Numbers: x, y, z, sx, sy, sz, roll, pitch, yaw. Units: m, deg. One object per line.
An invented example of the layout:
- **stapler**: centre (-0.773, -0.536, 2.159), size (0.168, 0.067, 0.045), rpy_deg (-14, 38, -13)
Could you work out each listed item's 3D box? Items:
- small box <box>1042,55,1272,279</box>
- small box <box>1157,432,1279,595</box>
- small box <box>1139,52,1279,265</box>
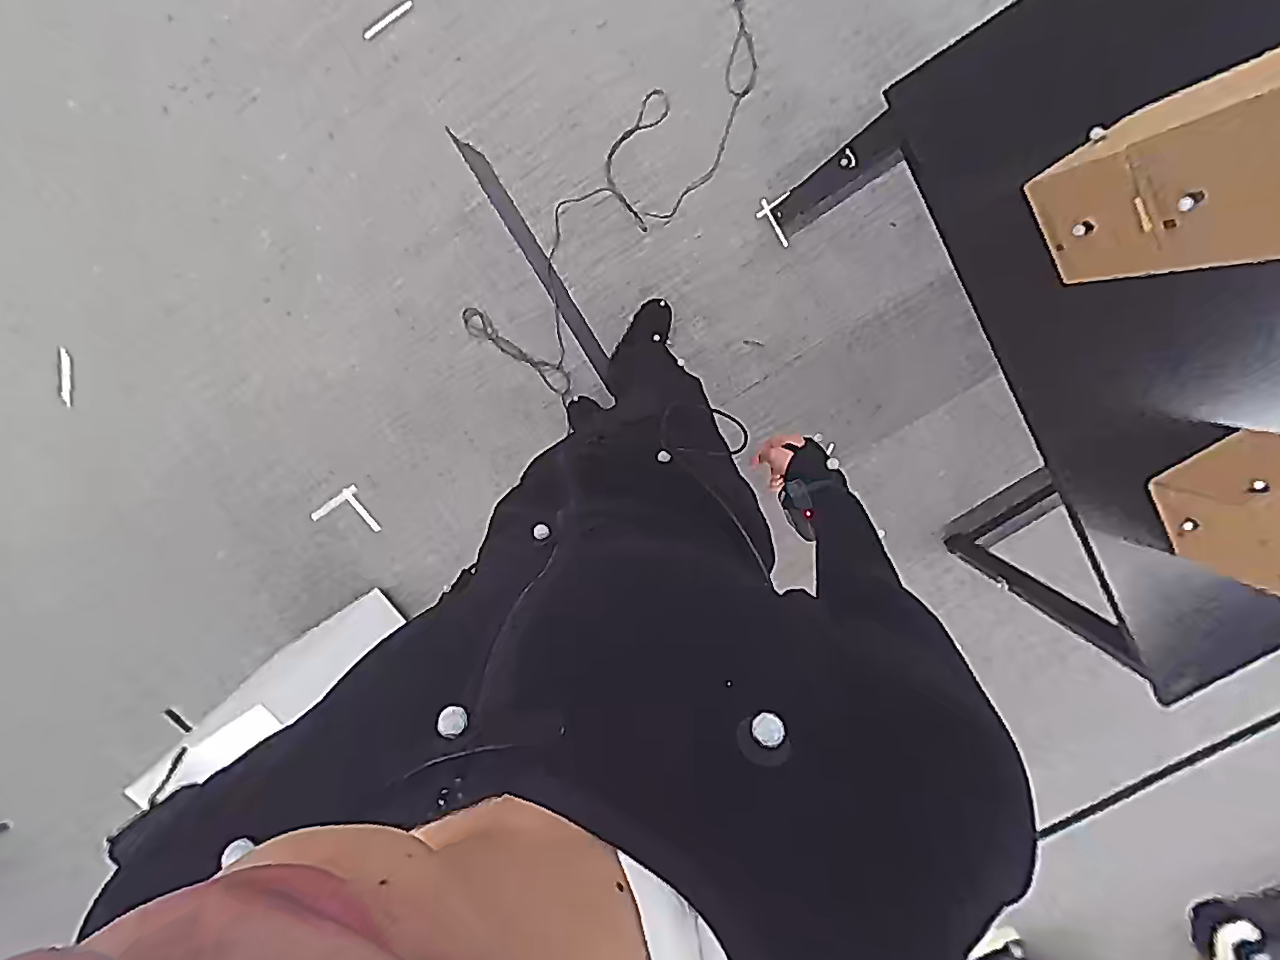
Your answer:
- **small box**: centre (0.679, -0.387, 0.710), size (0.179, 0.176, 0.168), rpy_deg (-34, 103, 7)
- **small box**: centre (0.974, 0.045, 0.832), size (0.179, 0.176, 0.168), rpy_deg (-32, 103, 7)
- **small box**: centre (0.685, -0.346, 0.551), size (0.179, 0.176, 0.168), rpy_deg (-33, 103, 7)
